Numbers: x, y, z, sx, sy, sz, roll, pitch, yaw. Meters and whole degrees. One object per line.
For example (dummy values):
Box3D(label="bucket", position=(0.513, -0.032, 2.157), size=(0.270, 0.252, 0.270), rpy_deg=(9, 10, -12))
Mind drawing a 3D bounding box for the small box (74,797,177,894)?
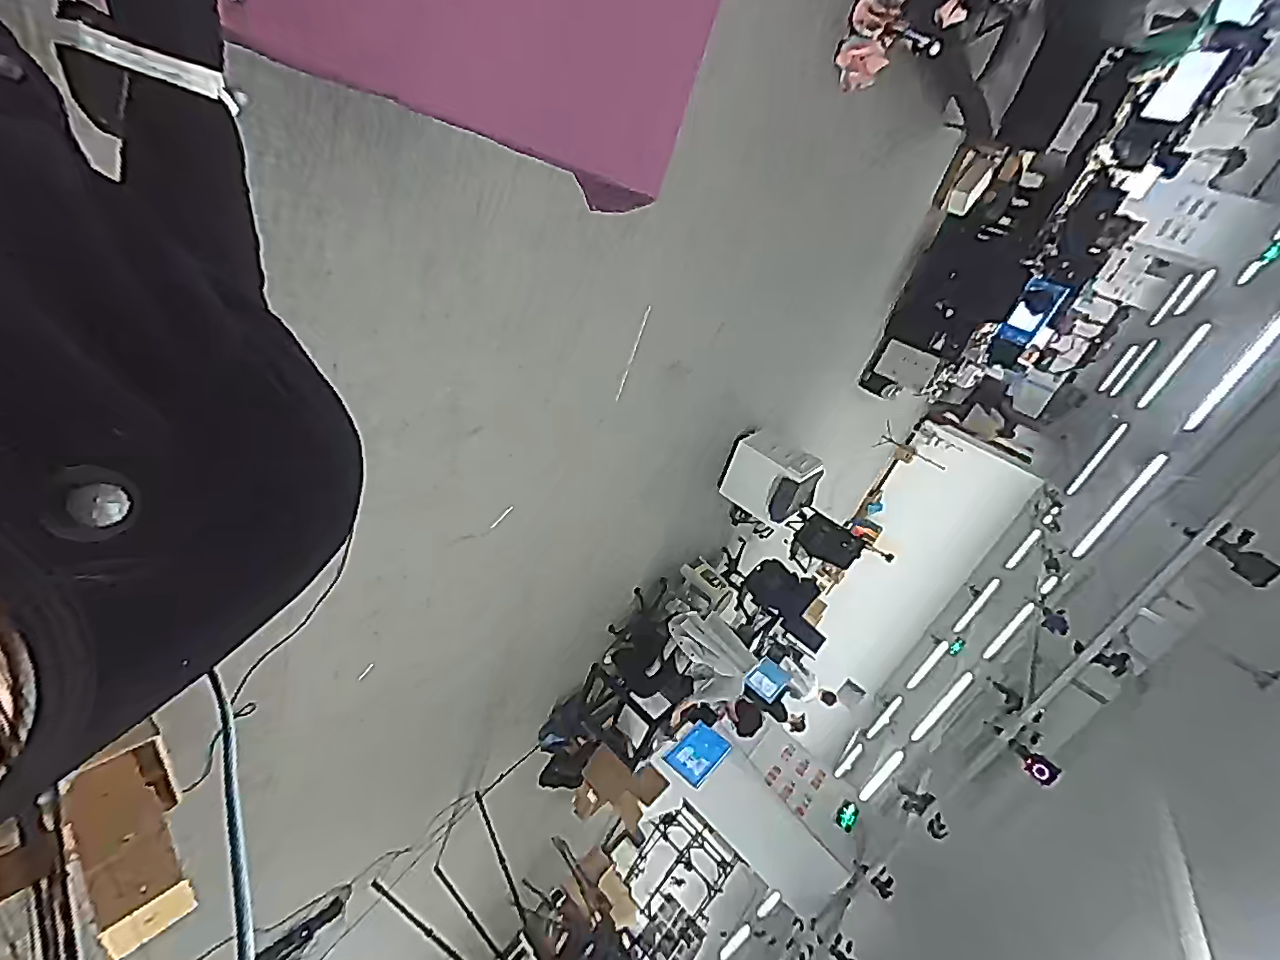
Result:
Box3D(label="small box", position=(-1.430, 1.039, 1.510), size=(0.179, 0.176, 0.168), rpy_deg=(-17, 132, -49))

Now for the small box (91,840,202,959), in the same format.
Box3D(label="small box", position=(-1.311, 1.118, 1.434), size=(0.179, 0.176, 0.168), rpy_deg=(-24, 137, -47))
